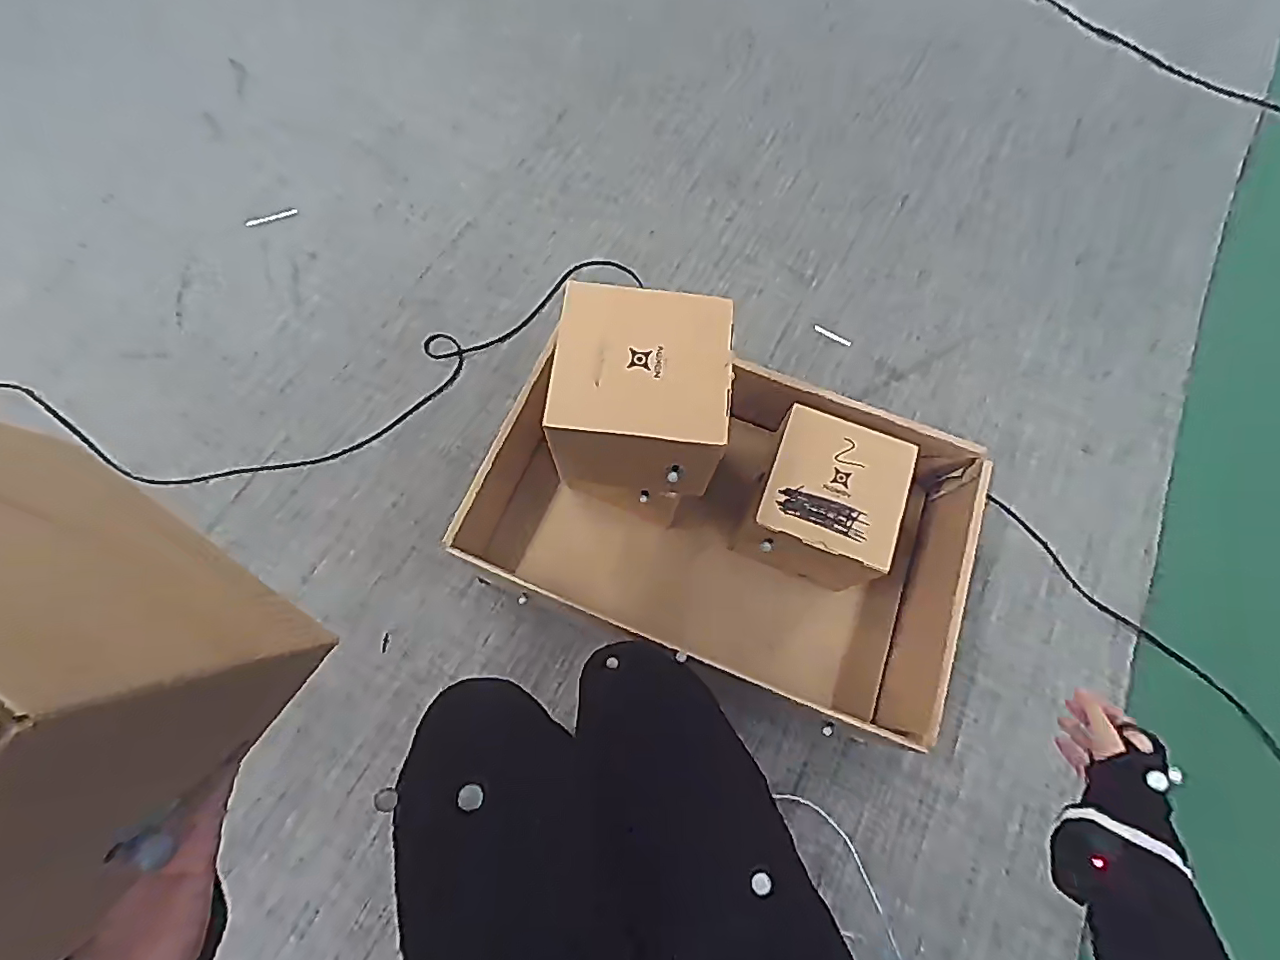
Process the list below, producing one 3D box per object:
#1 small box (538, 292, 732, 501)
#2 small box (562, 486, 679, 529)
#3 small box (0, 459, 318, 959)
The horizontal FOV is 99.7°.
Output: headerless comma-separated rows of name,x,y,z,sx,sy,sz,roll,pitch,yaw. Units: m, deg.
small box,-0.004,-0.081,0.605,0.179,0.176,0.168,6,72,0
small box,-0.010,-0.046,0.765,0.179,0.176,0.168,22,72,4
small box,-0.271,0.092,0.192,0.179,0.176,0.168,37,78,1
